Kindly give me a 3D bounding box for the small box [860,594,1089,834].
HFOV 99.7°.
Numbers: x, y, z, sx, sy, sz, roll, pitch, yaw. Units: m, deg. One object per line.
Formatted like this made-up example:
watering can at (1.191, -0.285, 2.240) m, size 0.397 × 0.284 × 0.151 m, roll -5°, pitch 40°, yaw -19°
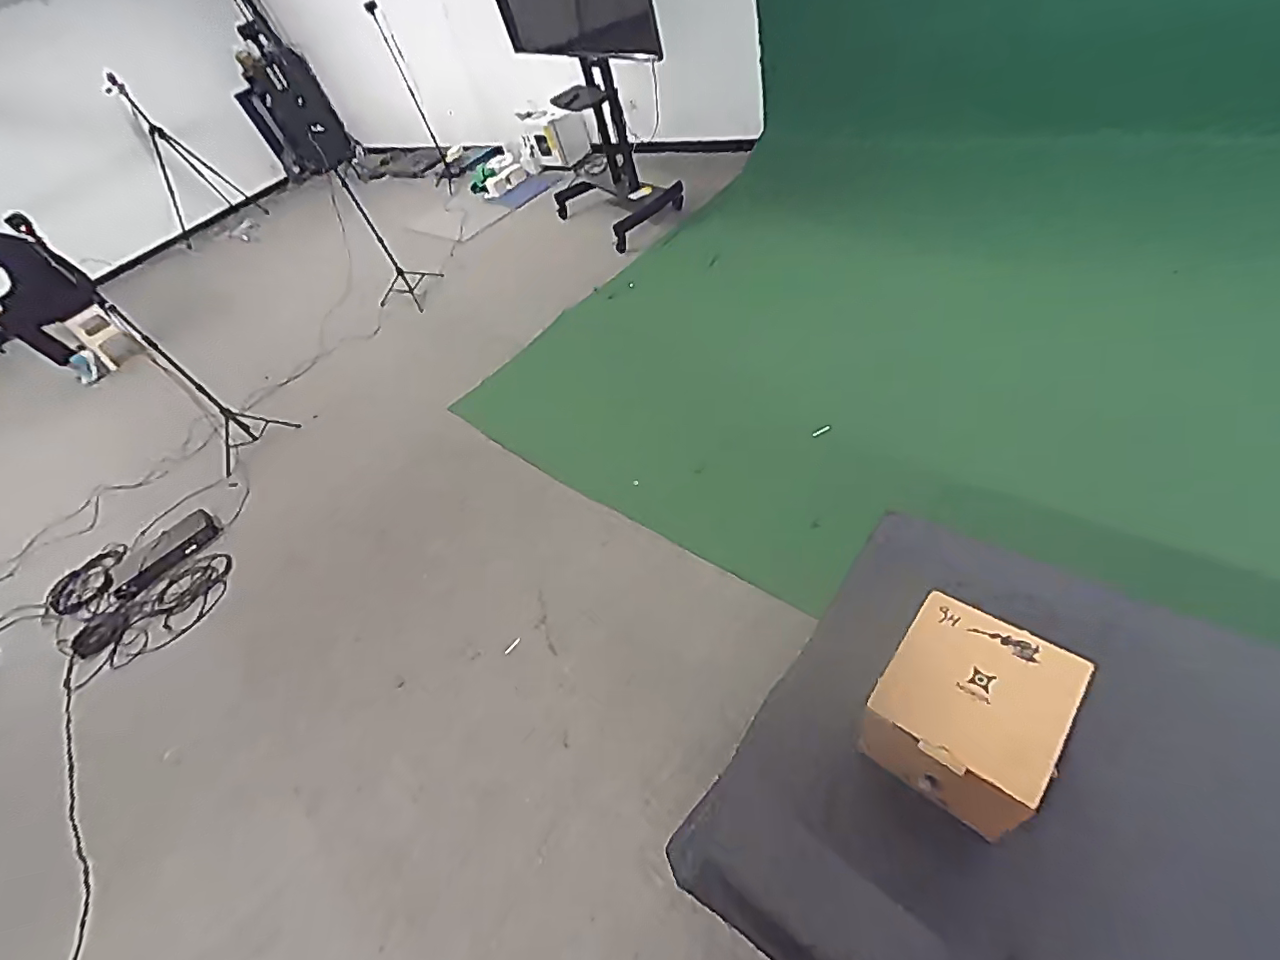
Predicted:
small box at (0.379, 0.277, 0.638) m, size 0.168 × 0.176 × 0.179 m, roll 27°, pitch 63°, yaw 36°
